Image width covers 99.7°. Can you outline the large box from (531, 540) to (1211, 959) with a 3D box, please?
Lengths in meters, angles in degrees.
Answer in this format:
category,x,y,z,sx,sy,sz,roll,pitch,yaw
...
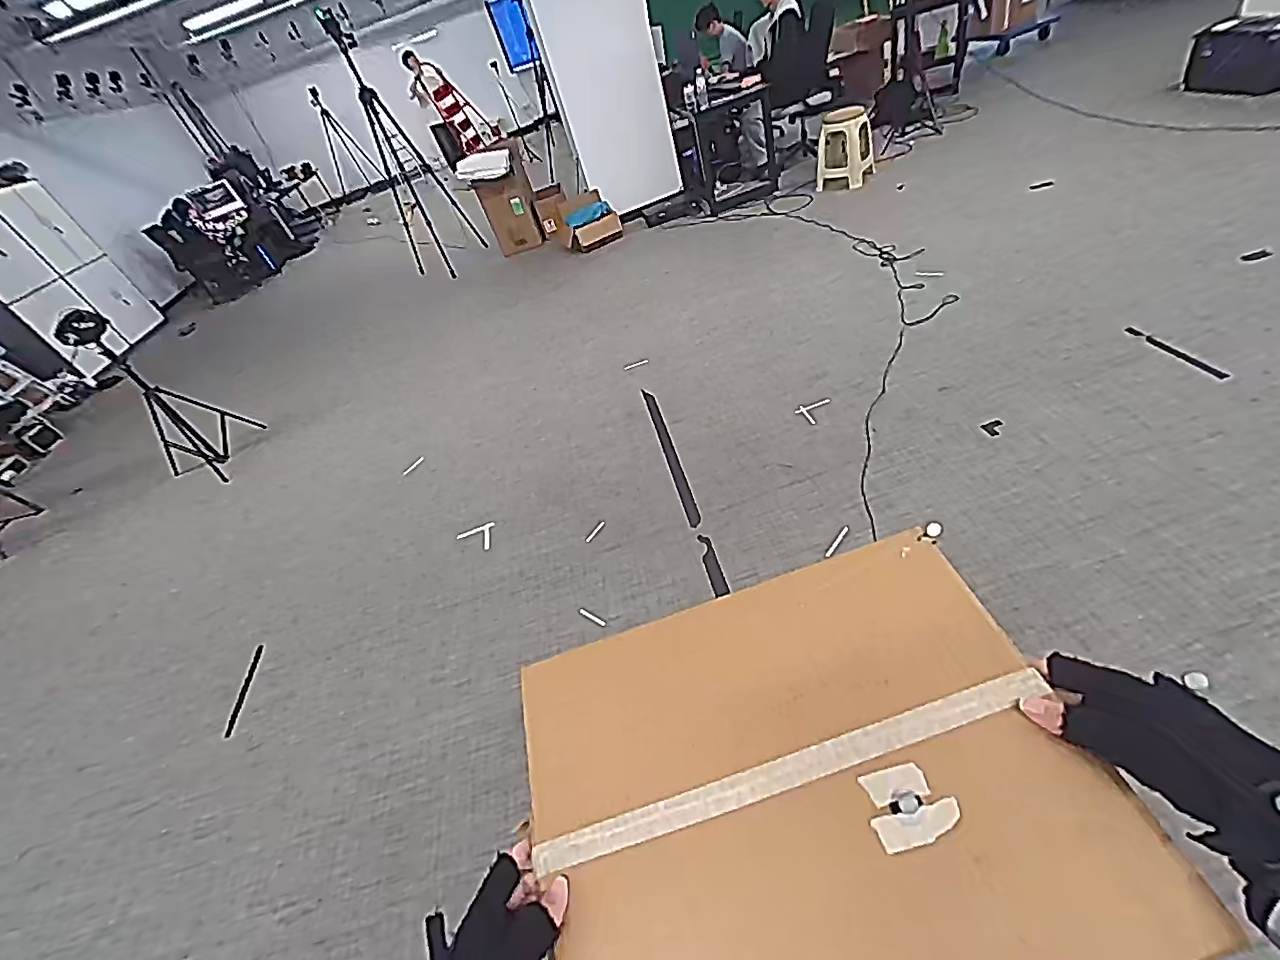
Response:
category,x,y,z,sx,sy,sz,roll,pitch,yaw
large box,0.151,0.326,0.527,0.408,0.320,0.320,-20,47,0
